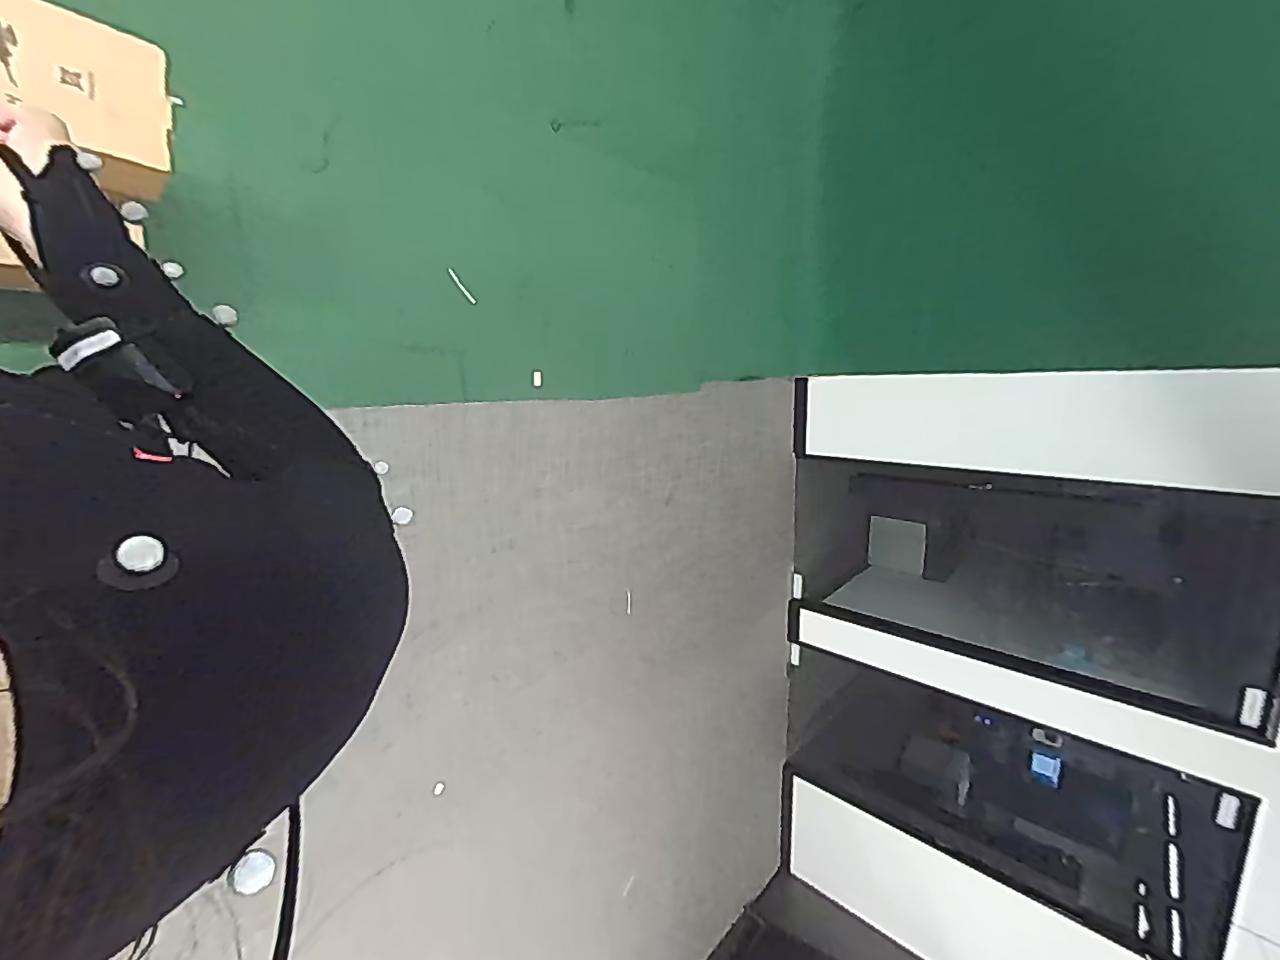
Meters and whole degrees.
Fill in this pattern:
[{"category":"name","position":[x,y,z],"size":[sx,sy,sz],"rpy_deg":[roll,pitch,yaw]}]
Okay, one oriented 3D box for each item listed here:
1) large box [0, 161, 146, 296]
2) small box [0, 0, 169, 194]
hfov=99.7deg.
[{"category":"large box","position":[-1.059,-0.475,0.817],"size":[0.408,0.320,0.320],"rpy_deg":[-10,105,-47]},{"category":"small box","position":[-0.782,-0.519,0.748],"size":[0.179,0.176,0.168],"rpy_deg":[-3,98,-47]}]
